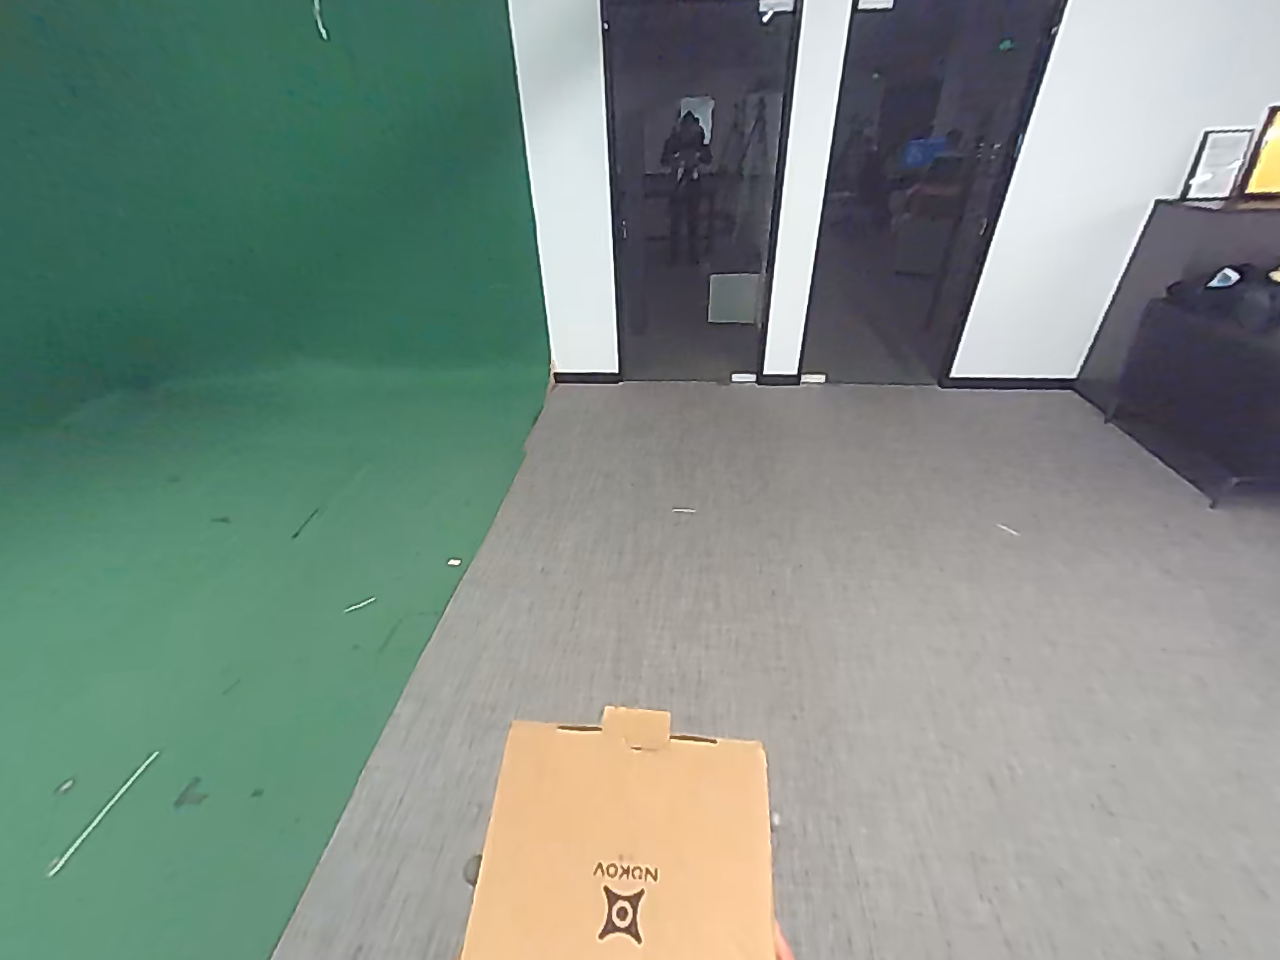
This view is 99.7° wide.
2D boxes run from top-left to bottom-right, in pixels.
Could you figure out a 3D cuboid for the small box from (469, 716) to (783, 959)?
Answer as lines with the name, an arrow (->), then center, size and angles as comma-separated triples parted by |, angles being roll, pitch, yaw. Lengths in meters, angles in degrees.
small box -> -0.005, 0.276, 0.359 | 0.168, 0.176, 0.179 | 4, 52, 2
